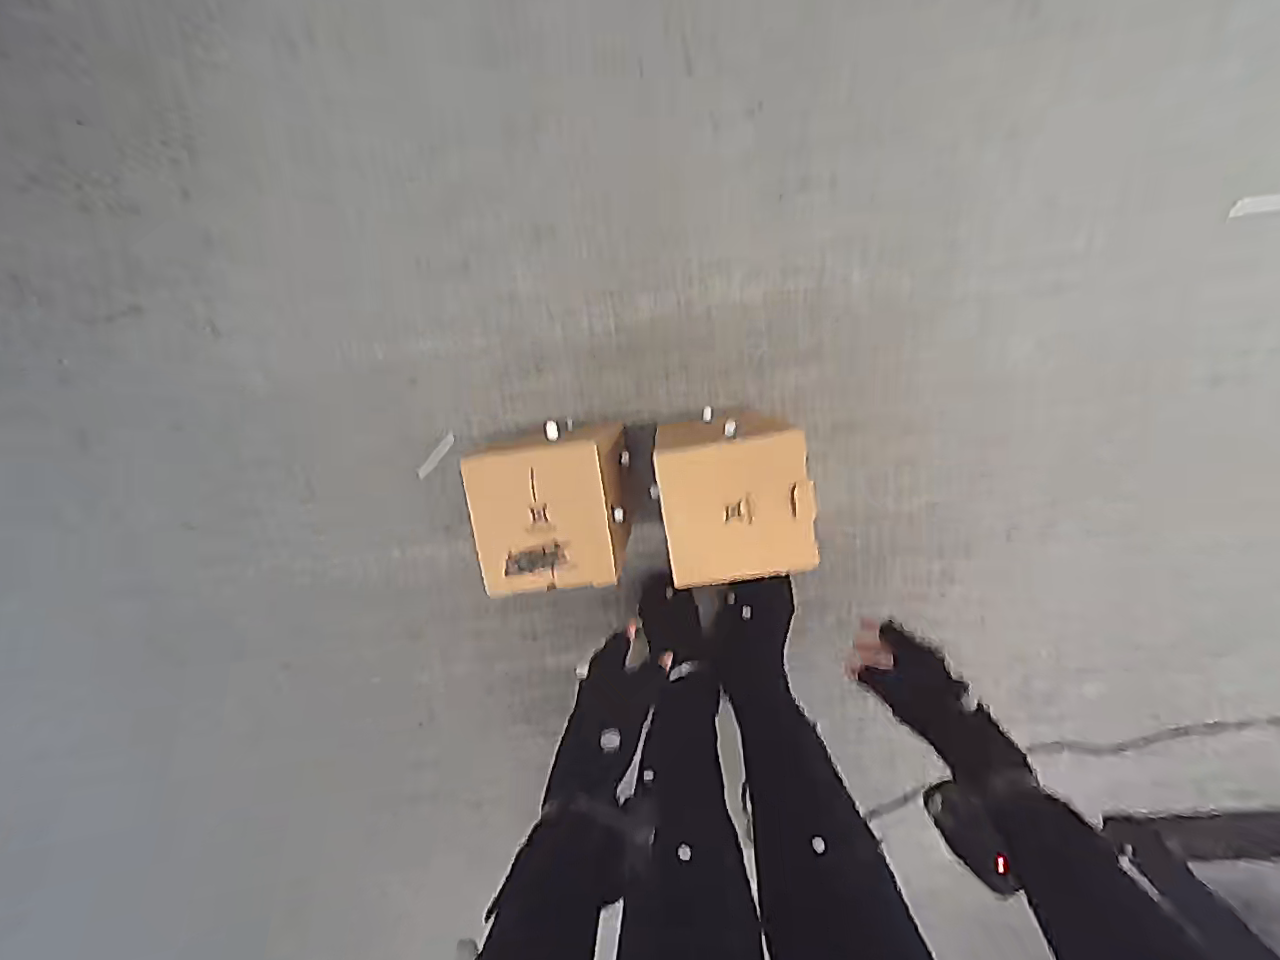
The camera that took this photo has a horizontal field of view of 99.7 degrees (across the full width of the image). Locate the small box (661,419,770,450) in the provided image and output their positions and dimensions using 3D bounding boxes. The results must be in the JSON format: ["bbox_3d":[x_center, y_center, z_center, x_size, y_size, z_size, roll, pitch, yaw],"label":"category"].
[{"bbox_3d":[0.125,-0.001,0.867,0.168,0.176,0.179,-9,101,5],"label":"small box"}]

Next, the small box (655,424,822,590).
[{"bbox_3d":[0.121,0.026,0.705,0.179,0.176,0.168,-10,101,5],"label":"small box"}]
